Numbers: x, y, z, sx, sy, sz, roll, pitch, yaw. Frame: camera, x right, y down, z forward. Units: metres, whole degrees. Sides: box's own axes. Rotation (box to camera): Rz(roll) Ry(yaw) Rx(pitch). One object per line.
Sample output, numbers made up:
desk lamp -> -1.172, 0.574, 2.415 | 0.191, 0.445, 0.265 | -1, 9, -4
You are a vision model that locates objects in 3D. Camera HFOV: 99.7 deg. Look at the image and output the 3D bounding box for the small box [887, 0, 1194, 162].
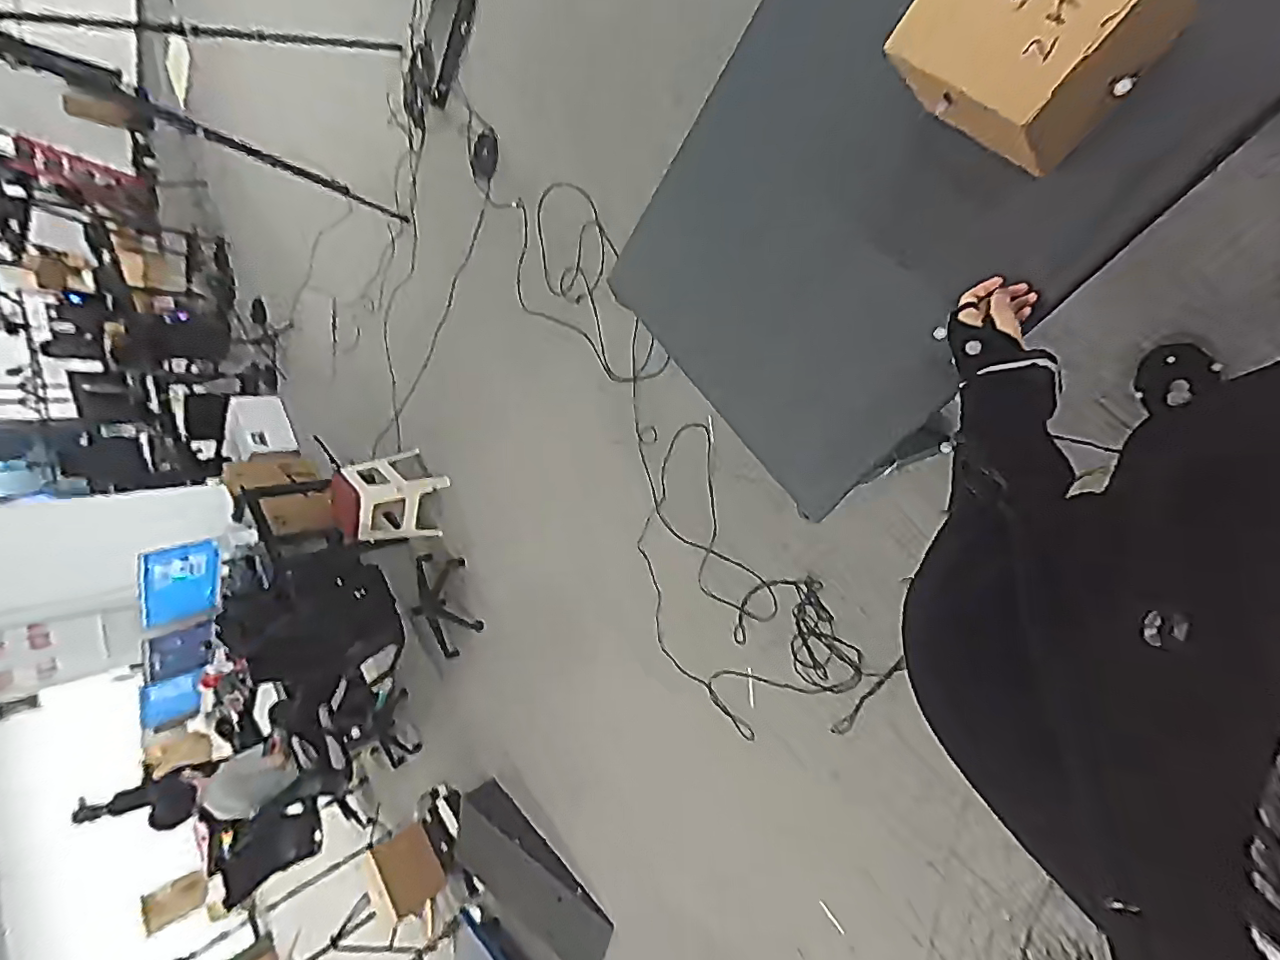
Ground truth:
small box -> 0.391, -0.451, 0.533 | 0.179, 0.176, 0.168 | 52, 128, 23
